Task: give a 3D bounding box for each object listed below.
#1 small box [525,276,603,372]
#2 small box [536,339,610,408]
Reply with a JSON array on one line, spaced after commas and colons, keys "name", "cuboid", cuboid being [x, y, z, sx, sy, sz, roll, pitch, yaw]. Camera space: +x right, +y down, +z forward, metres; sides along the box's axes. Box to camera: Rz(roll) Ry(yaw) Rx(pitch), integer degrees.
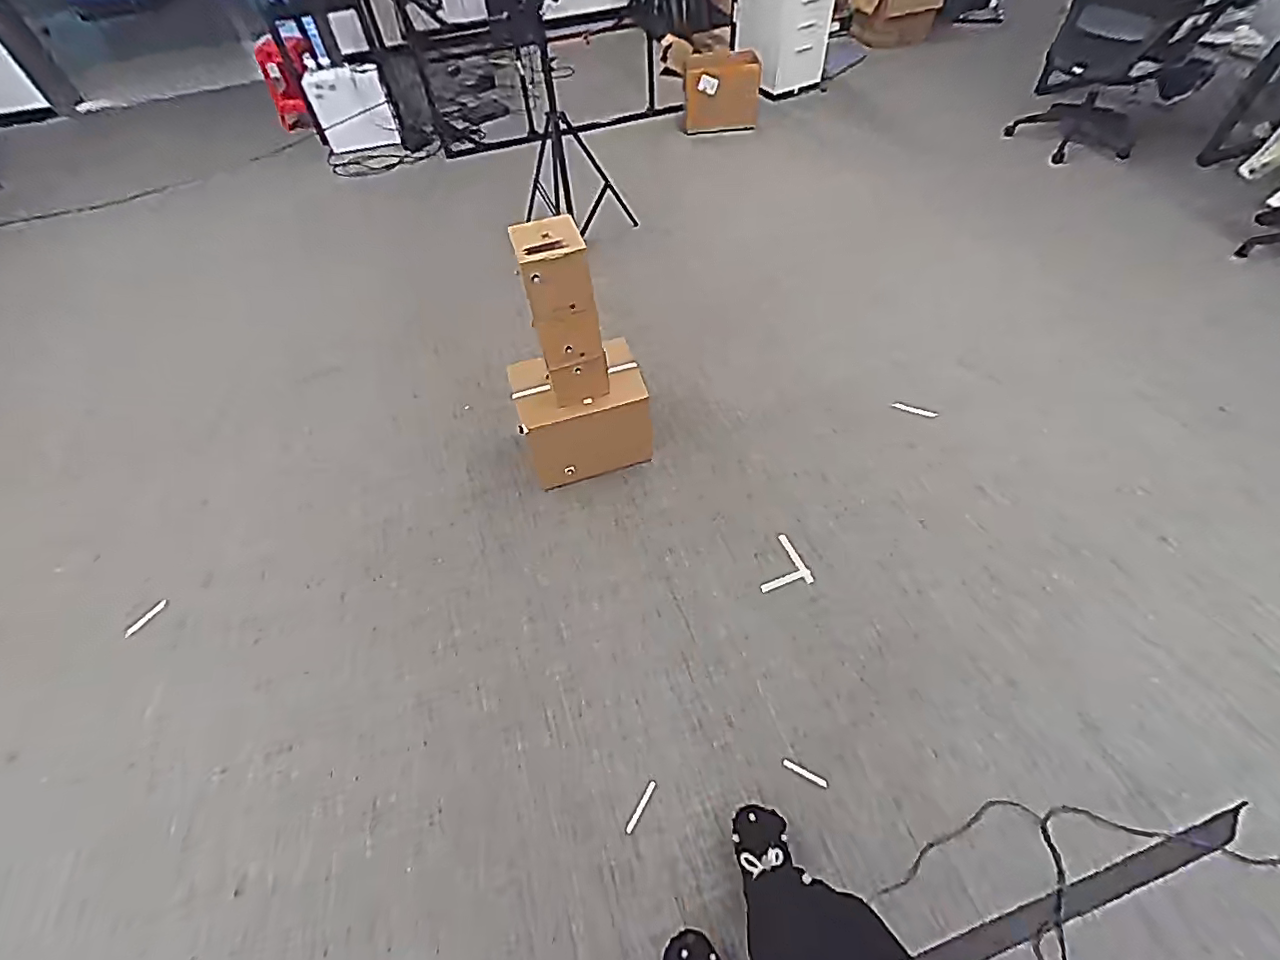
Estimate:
[{"name": "small box", "cuboid": [-0.211, -0.434, 1.513, 0.168, 0.176, 0.179, -18, 55, -9]}, {"name": "small box", "cuboid": [-0.200, -0.345, 1.648, 0.179, 0.176, 0.168, -18, 55, -10]}]
